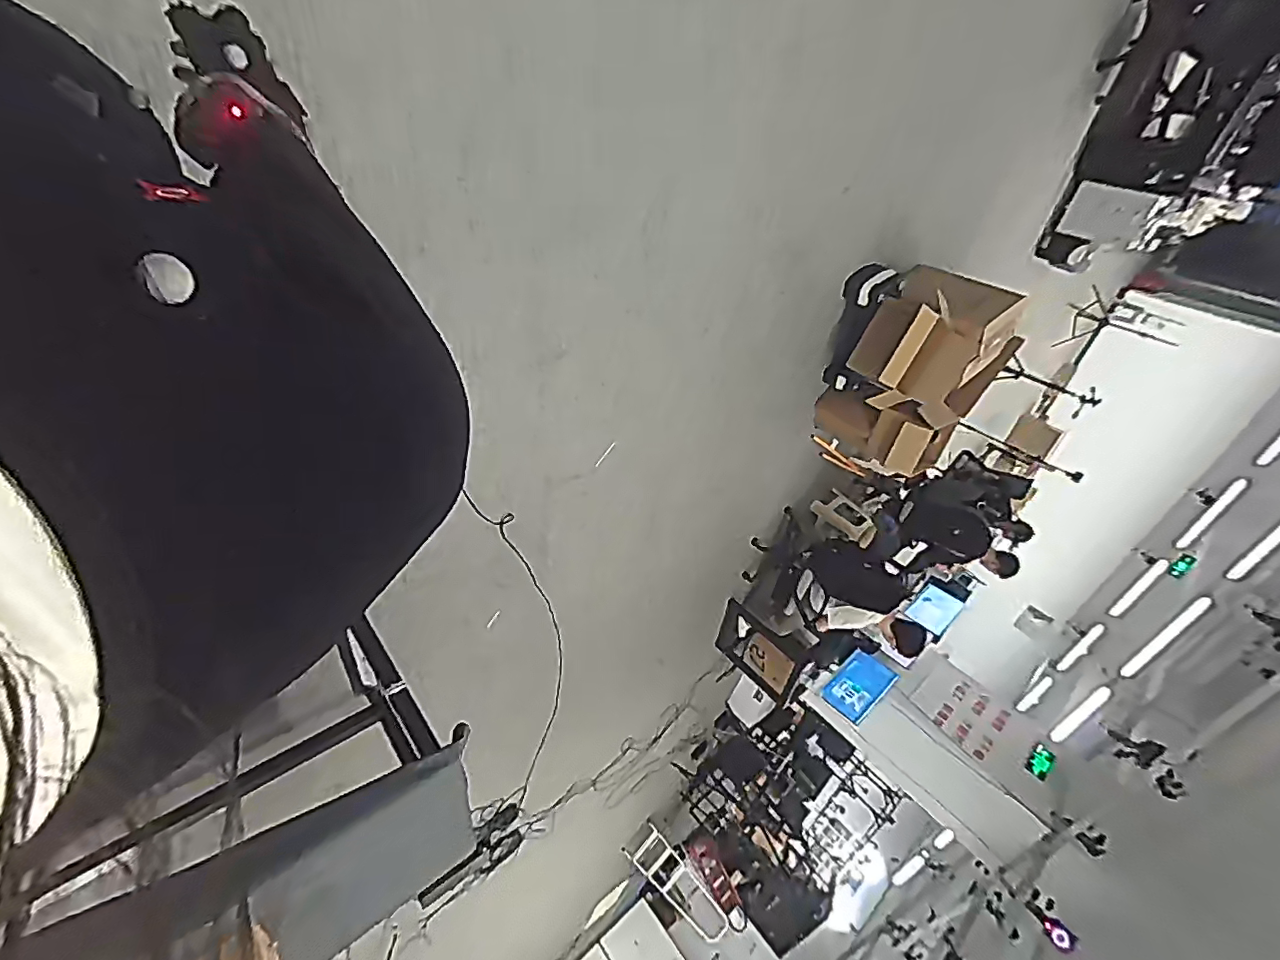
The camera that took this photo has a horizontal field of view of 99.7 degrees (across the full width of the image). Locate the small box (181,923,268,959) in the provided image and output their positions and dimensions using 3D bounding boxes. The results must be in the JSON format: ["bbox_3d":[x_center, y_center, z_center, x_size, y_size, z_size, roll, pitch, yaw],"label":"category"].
[{"bbox_3d":[-0.871,1.071,1.114,0.168,0.176,0.179,-22,137,-36],"label":"small box"}]
